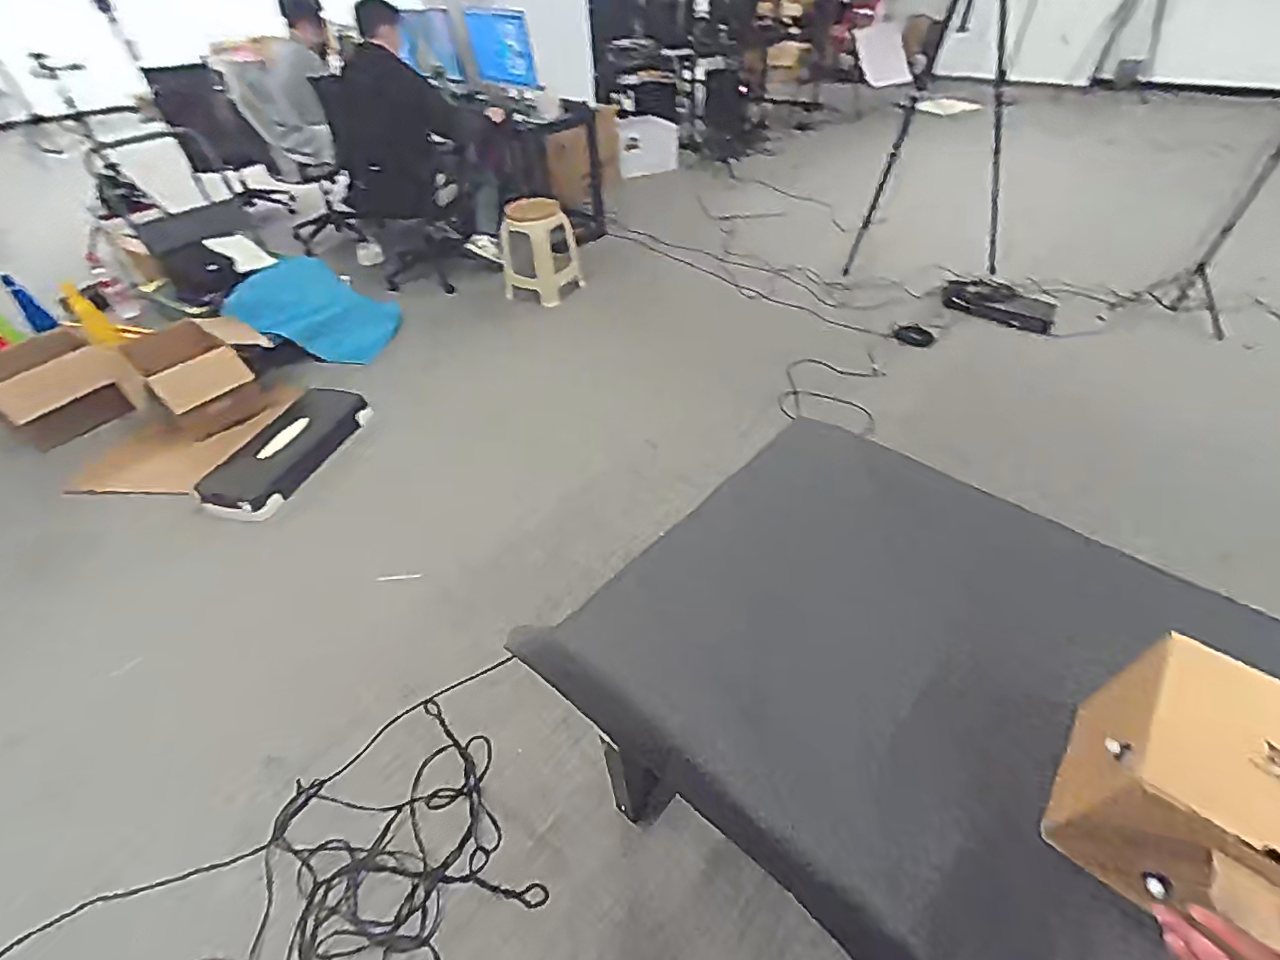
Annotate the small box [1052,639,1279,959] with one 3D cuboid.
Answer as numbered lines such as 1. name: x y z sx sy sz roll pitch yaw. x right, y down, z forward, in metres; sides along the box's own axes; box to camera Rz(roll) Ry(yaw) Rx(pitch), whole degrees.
1. small box: 0.513 0.287 0.482 0.168 0.176 0.179 31 53 30
